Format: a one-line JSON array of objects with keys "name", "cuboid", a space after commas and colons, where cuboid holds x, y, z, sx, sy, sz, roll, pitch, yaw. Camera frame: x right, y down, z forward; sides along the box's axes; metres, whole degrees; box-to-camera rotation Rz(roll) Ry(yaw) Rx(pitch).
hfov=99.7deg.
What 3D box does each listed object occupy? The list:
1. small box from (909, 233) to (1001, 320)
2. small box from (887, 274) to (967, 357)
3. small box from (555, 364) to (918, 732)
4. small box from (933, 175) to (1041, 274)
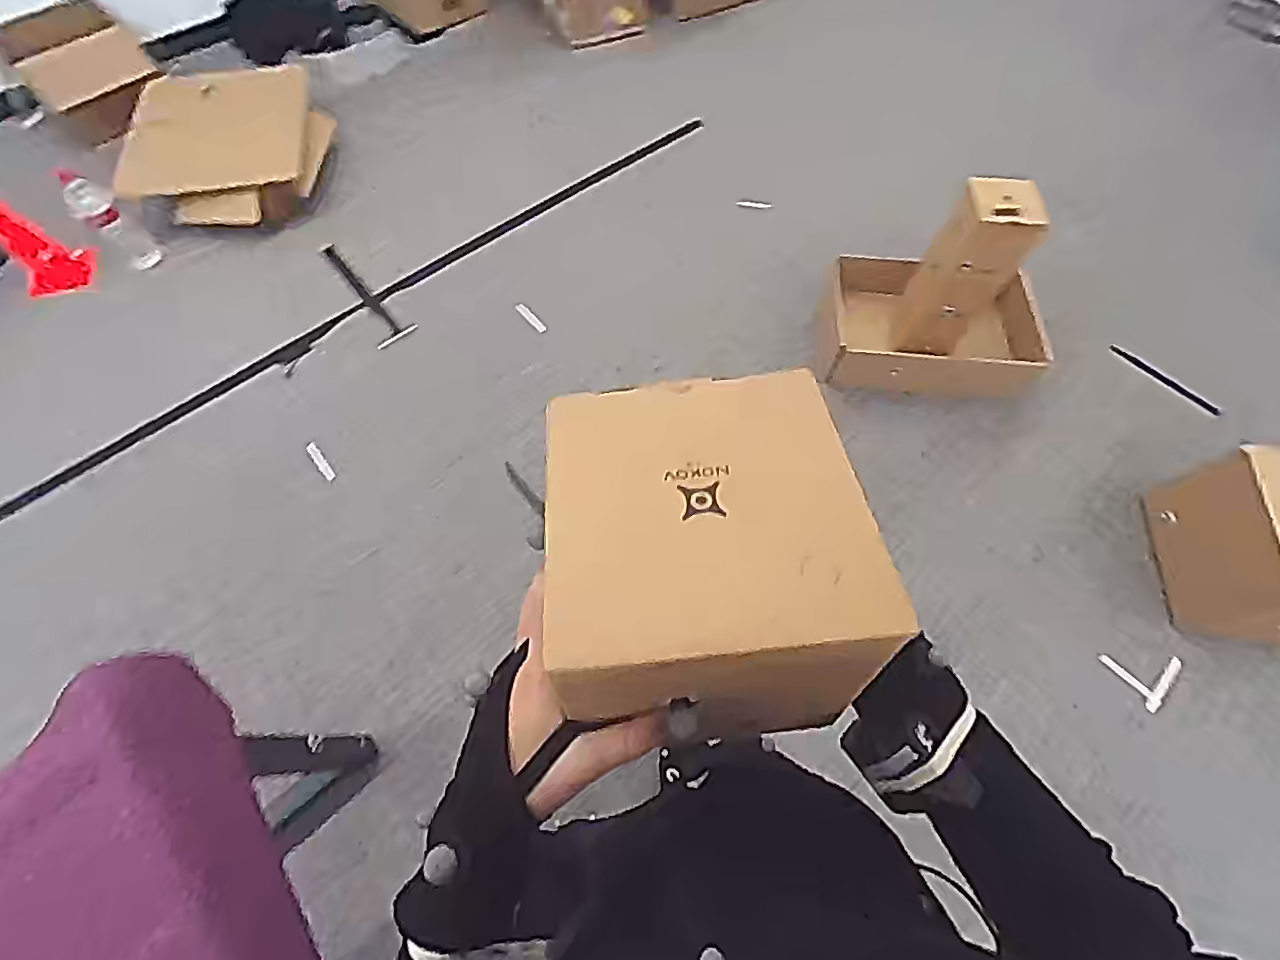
[{"name": "small box", "cuboid": [0.908, -0.595, 1.578, 0.168, 0.176, 0.179, 6, 65, 3]}, {"name": "small box", "cuboid": [0.905, -0.522, 1.722, 0.168, 0.176, 0.179, 7, 64, 3]}, {"name": "small box", "cuboid": [0.043, 0.052, 0.351, 0.168, 0.176, 0.179, -6, 52, 0]}, {"name": "small box", "cuboid": [0.908, -0.672, 1.433, 0.168, 0.176, 0.179, 5, 62, 2]}]
